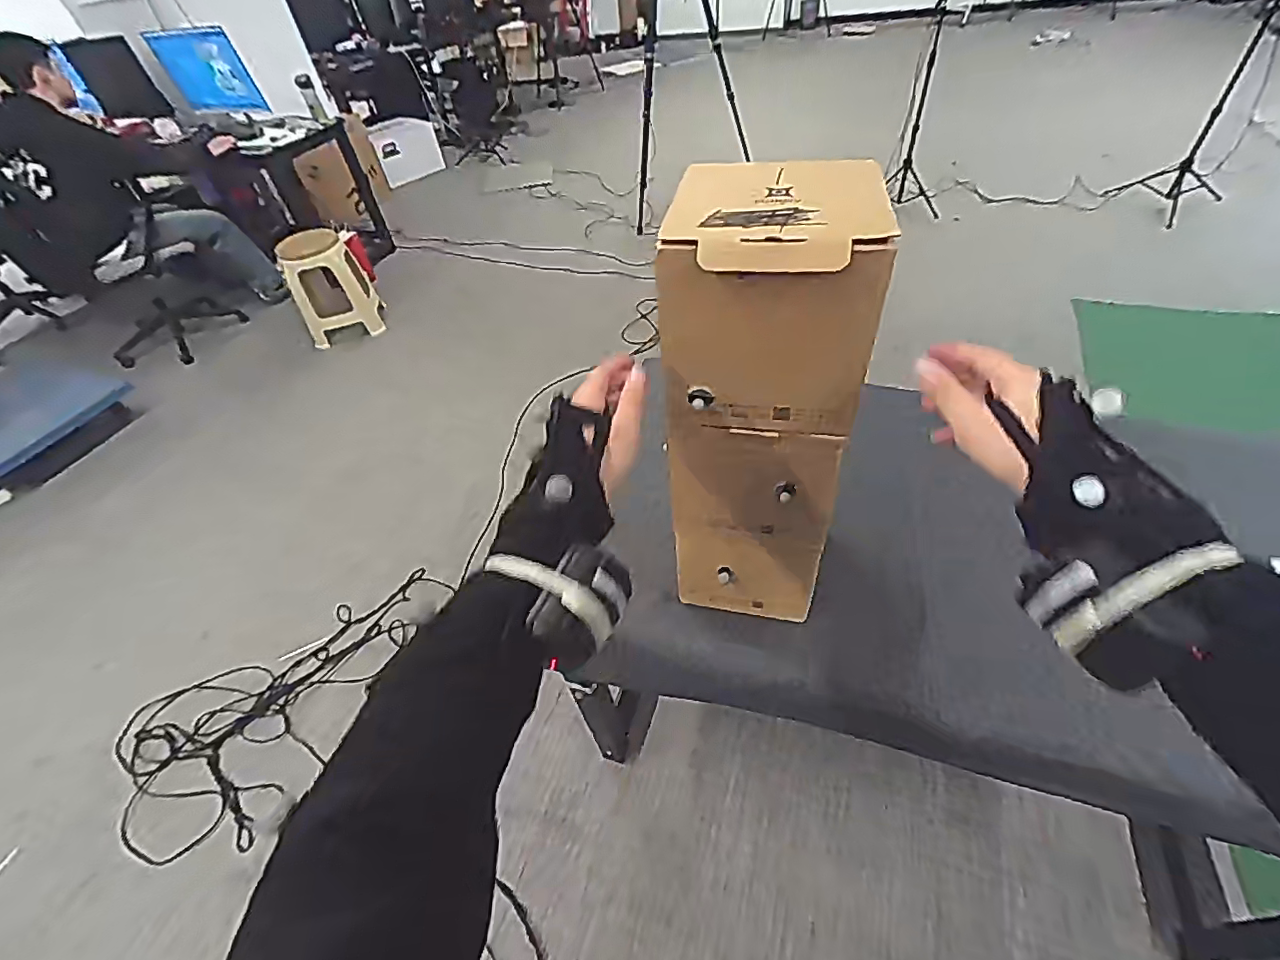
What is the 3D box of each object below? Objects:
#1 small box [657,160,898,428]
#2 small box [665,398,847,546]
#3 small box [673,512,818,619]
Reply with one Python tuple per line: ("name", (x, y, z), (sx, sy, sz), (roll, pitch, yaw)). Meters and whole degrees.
("small box", (0.116, -0.164, 0.482), (0.168, 0.176, 0.179), (6, 46, 11))
("small box", (0.129, -0.049, 0.599), (0.168, 0.176, 0.179), (7, 46, 12))
("small box", (0.146, 0.061, 0.717), (0.168, 0.176, 0.179), (7, 47, 14))
